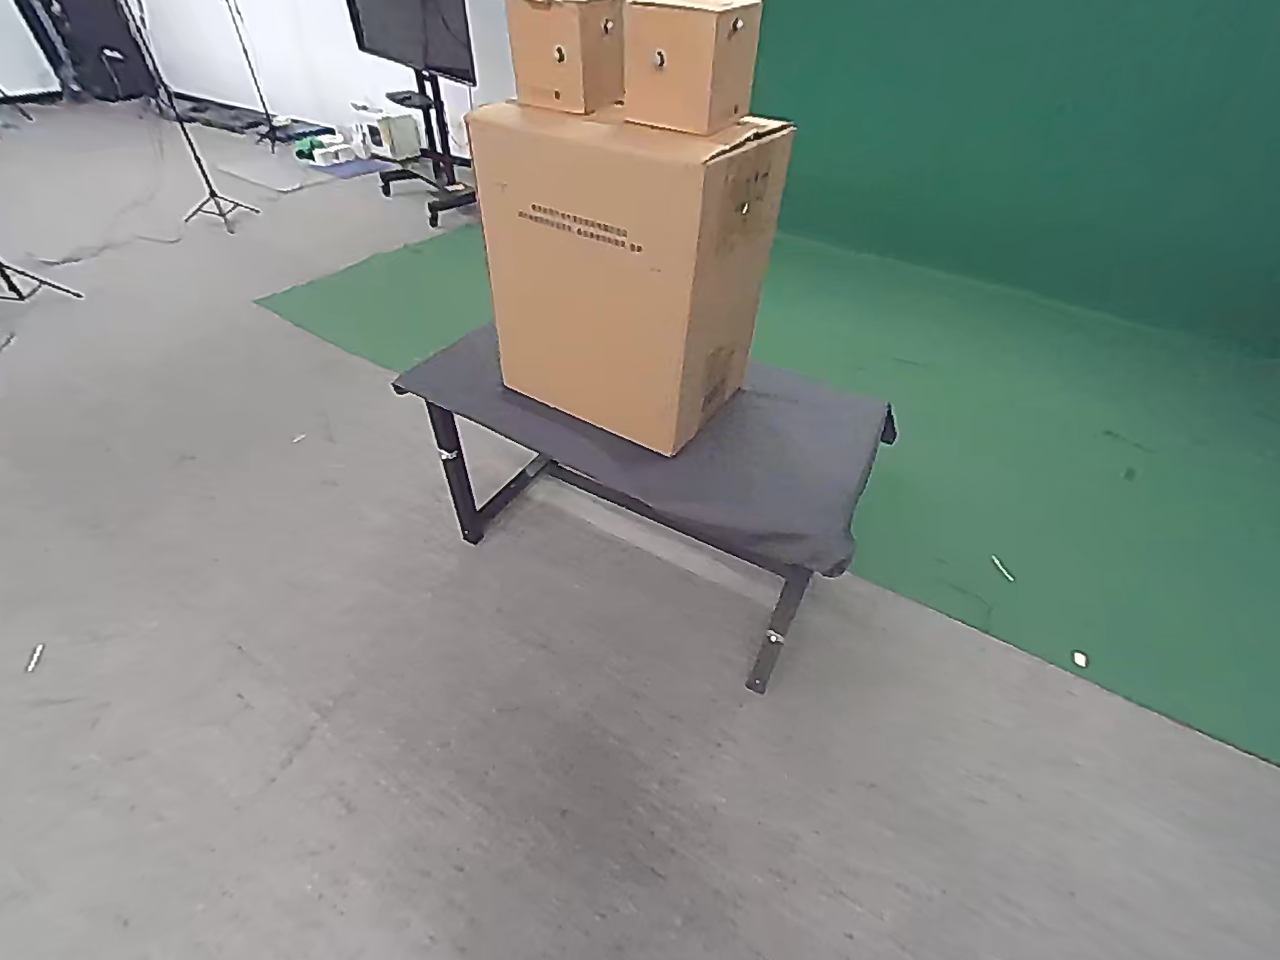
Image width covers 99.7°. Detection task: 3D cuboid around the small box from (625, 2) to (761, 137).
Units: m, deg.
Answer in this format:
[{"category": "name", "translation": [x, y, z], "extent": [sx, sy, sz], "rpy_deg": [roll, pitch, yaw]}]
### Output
[{"category": "small box", "translation": [0.090, -0.725, 0.955], "extent": [0.179, 0.176, 0.168], "rpy_deg": [25, 52, 23]}]

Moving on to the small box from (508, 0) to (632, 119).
[{"category": "small box", "translation": [-0.127, -0.823, 1.050], "extent": [0.168, 0.176, 0.179], "rpy_deg": [25, 50, 20]}]
